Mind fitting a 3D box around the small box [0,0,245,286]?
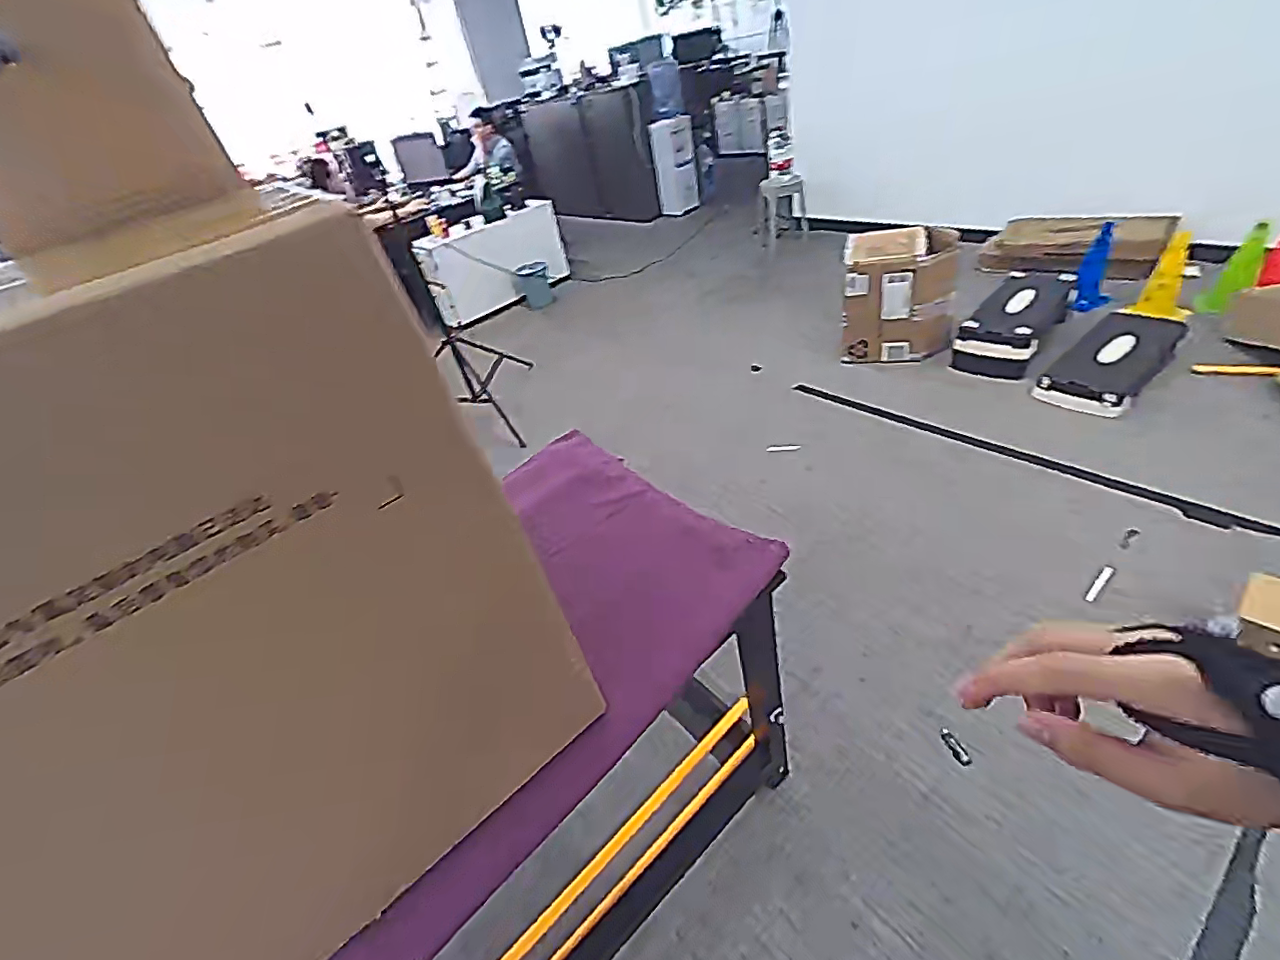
[{"bbox_3d":[-0.462,-0.278,0.437,0.168,0.176,0.179,25,54,40],"label":"small box"}]
